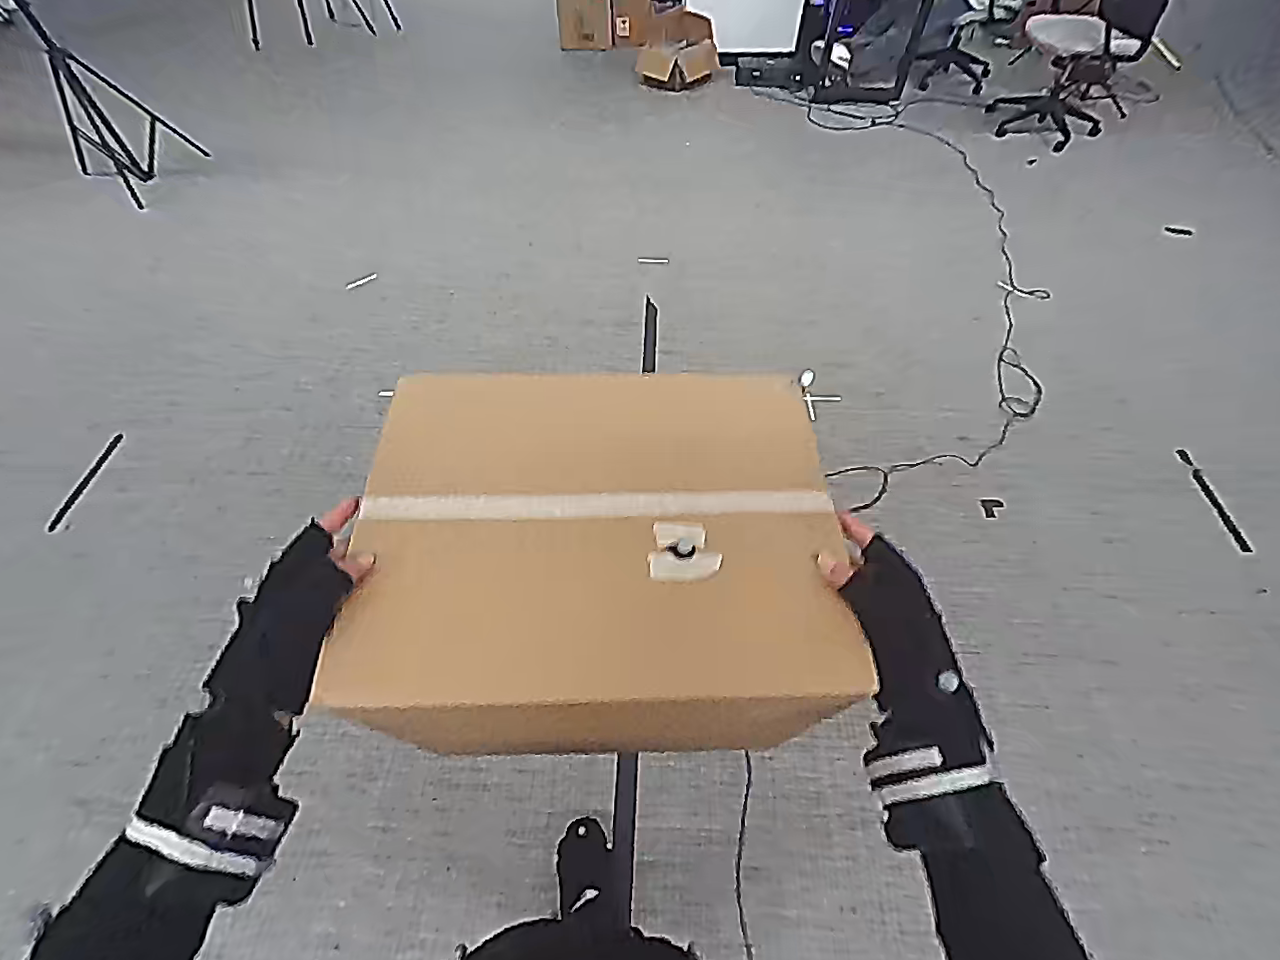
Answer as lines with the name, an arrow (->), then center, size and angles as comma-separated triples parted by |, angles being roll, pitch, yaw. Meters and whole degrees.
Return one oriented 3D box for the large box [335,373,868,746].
large box -> -0.037, 0.099, 0.601 | 0.408, 0.320, 0.320 | 0, 57, -3
